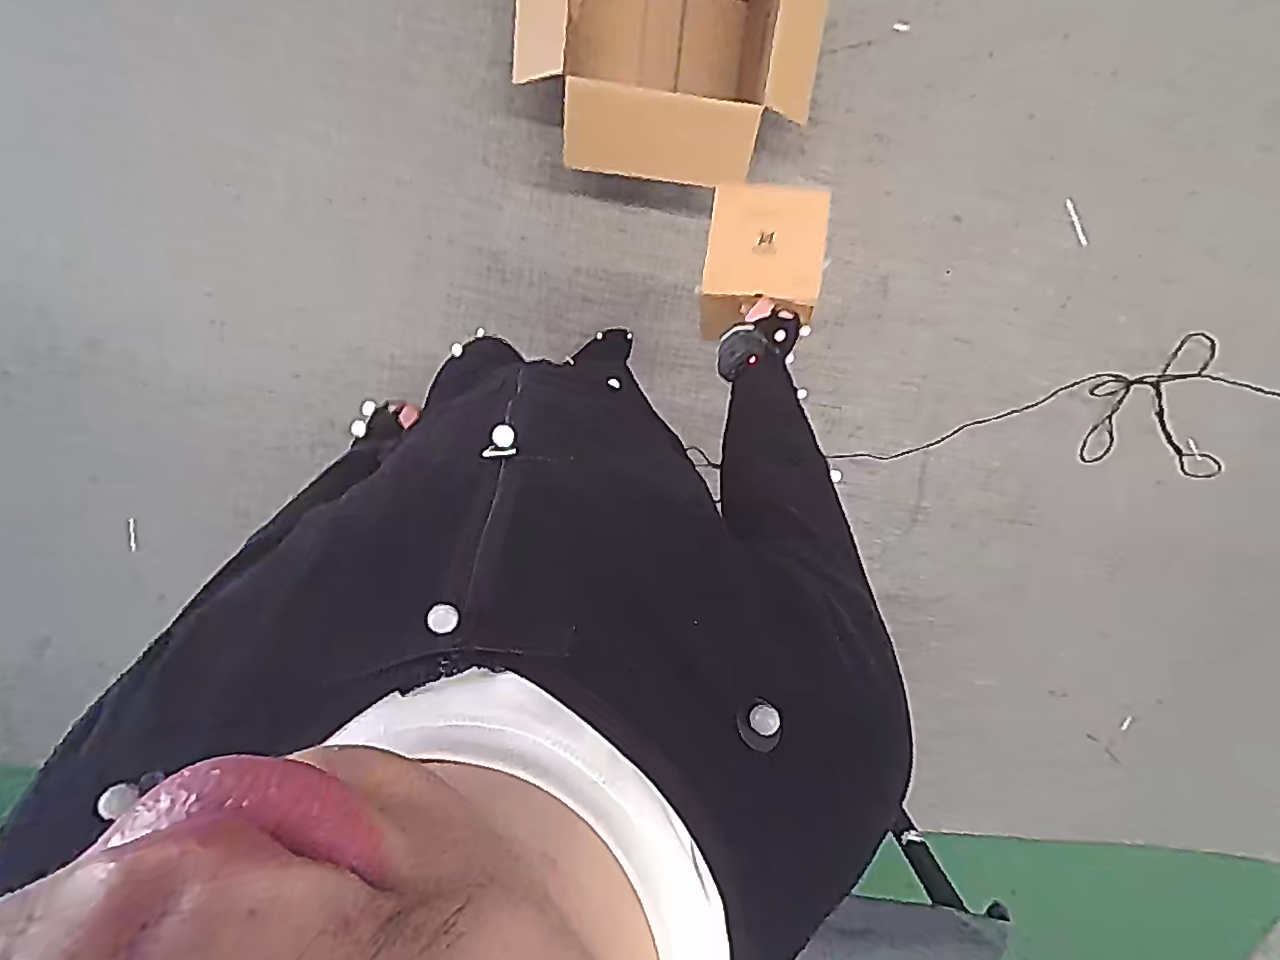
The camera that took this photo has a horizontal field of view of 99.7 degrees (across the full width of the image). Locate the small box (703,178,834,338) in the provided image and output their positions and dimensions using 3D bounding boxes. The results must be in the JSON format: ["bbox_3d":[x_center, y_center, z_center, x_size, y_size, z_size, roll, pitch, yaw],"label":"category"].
[{"bbox_3d":[0.191,-0.333,0.840,0.168,0.176,0.179,7,85,7],"label":"small box"}]
